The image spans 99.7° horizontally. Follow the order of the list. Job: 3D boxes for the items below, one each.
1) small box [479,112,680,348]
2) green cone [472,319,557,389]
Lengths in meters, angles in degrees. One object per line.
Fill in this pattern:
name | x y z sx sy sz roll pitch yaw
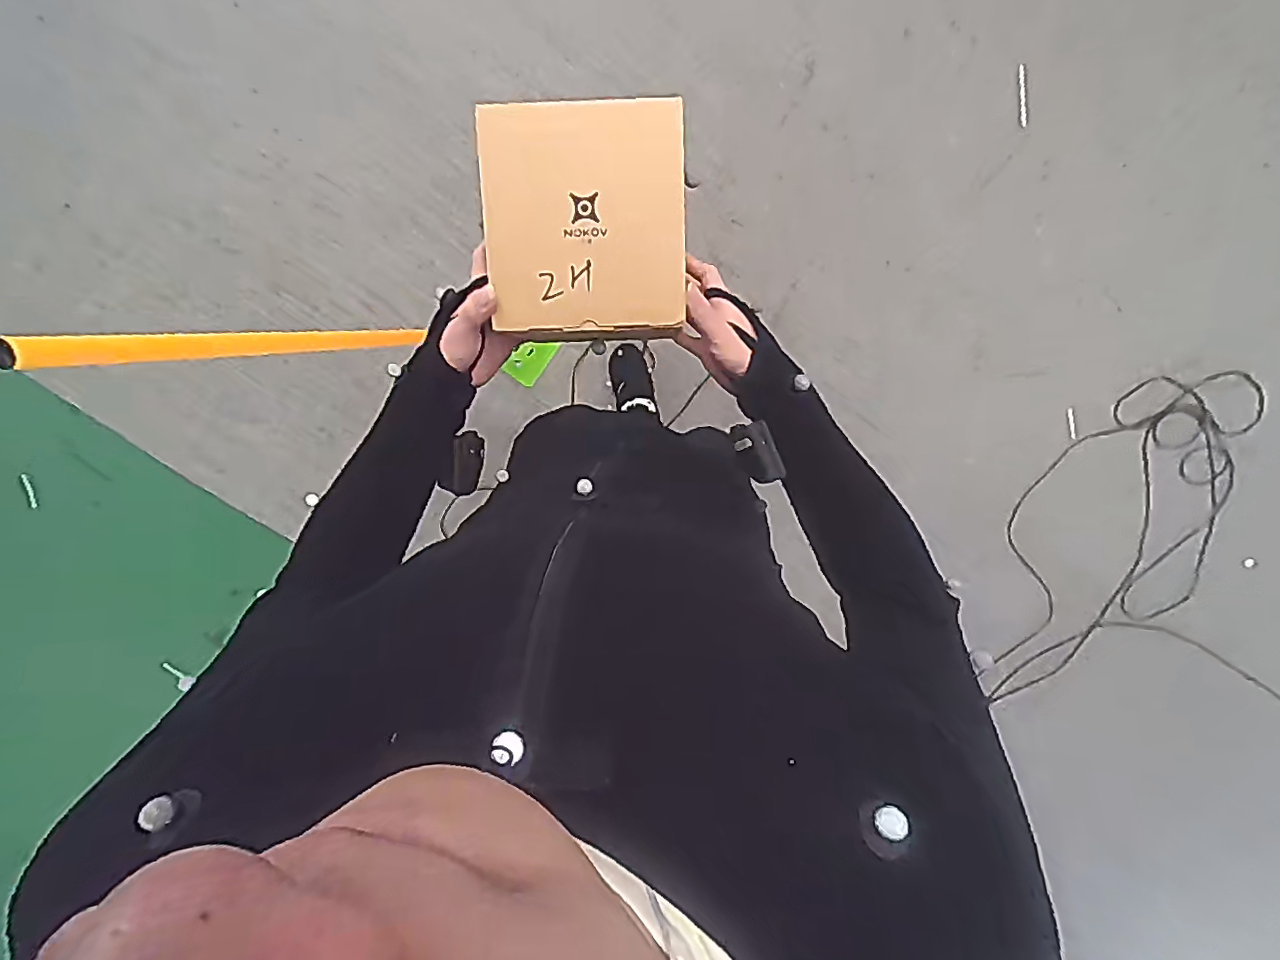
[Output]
small box | -0.048 -0.225 0.530 0.168 0.176 0.179 -1 101 1
green cone | -0.360 -0.351 1.389 0.202 0.368 0.200 36 101 -7
